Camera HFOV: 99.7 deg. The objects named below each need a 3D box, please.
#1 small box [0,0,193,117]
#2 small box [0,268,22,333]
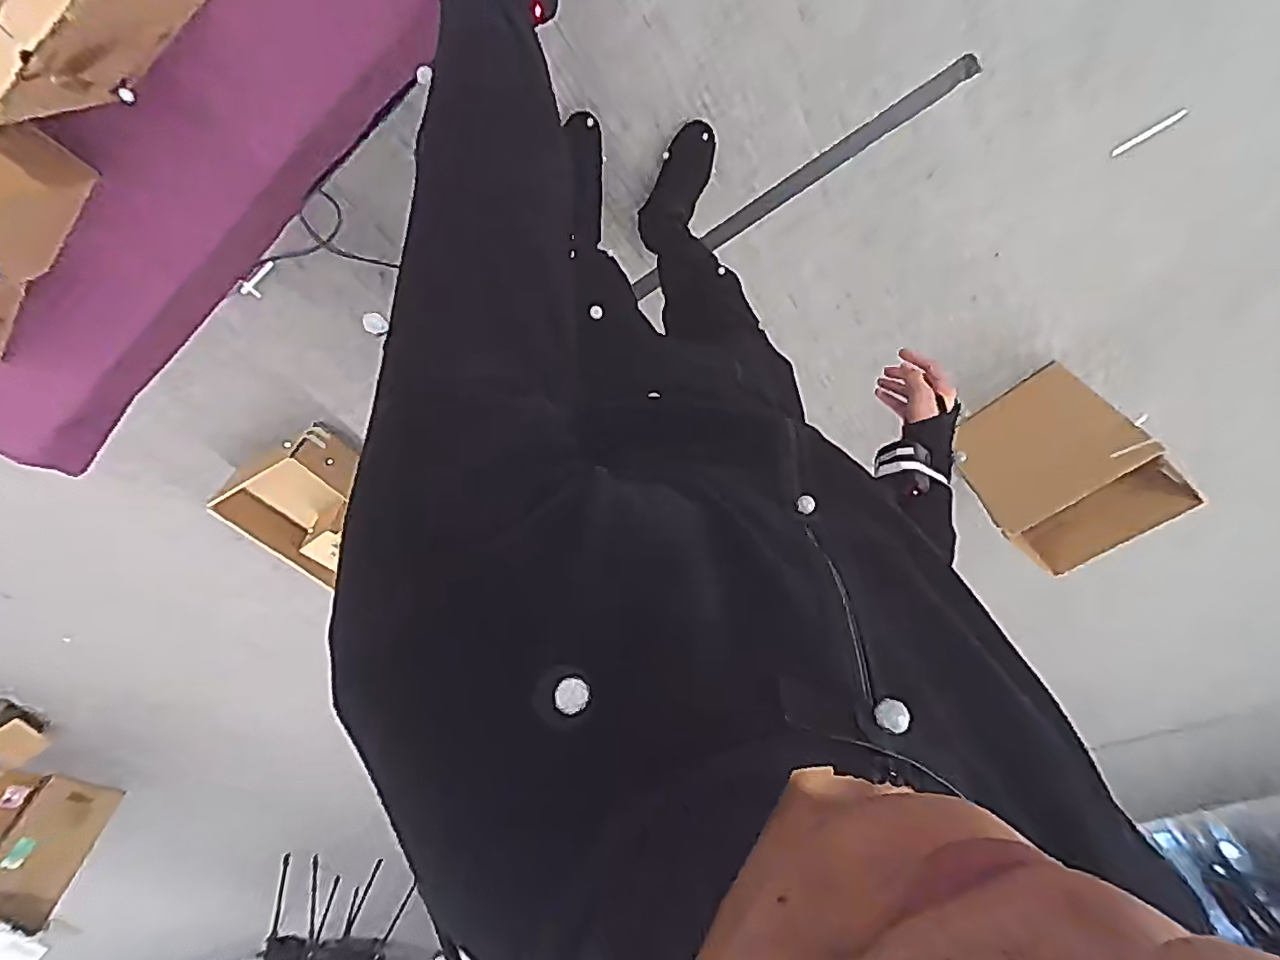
[{"bbox_3d":[-0.527,-0.441,0.437,0.168,0.176,0.179,-27,126,19],"label":"small box"},{"bbox_3d":[-0.895,-0.208,0.621,0.168,0.176,0.179,-37,123,24],"label":"small box"}]
